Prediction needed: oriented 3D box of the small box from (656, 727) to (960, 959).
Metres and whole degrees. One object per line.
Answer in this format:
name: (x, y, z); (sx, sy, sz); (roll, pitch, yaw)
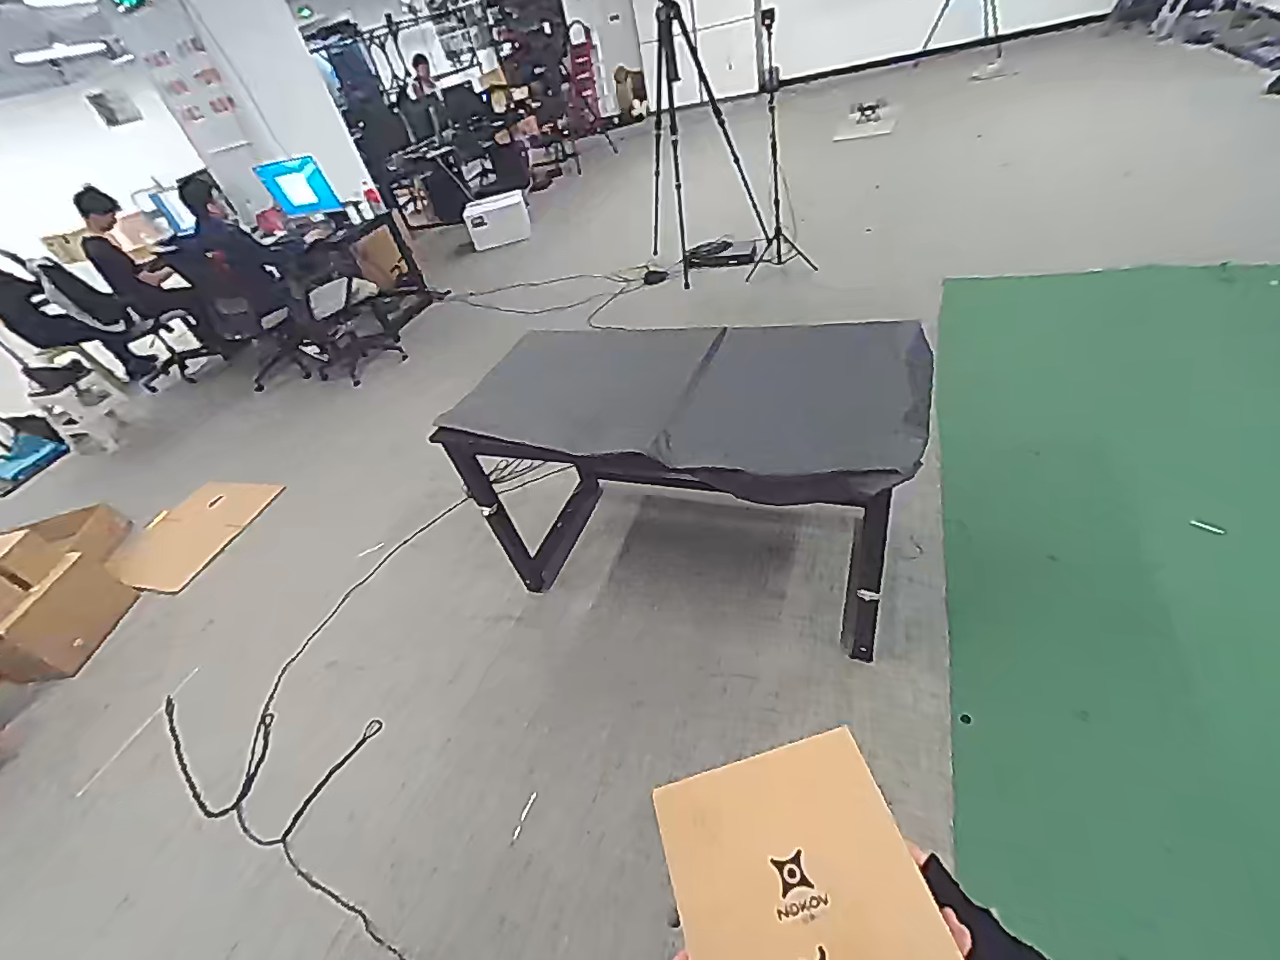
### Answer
small box: (0.122, 0.331, 0.425); (0.168, 0.176, 0.179); (-18, 45, 0)
